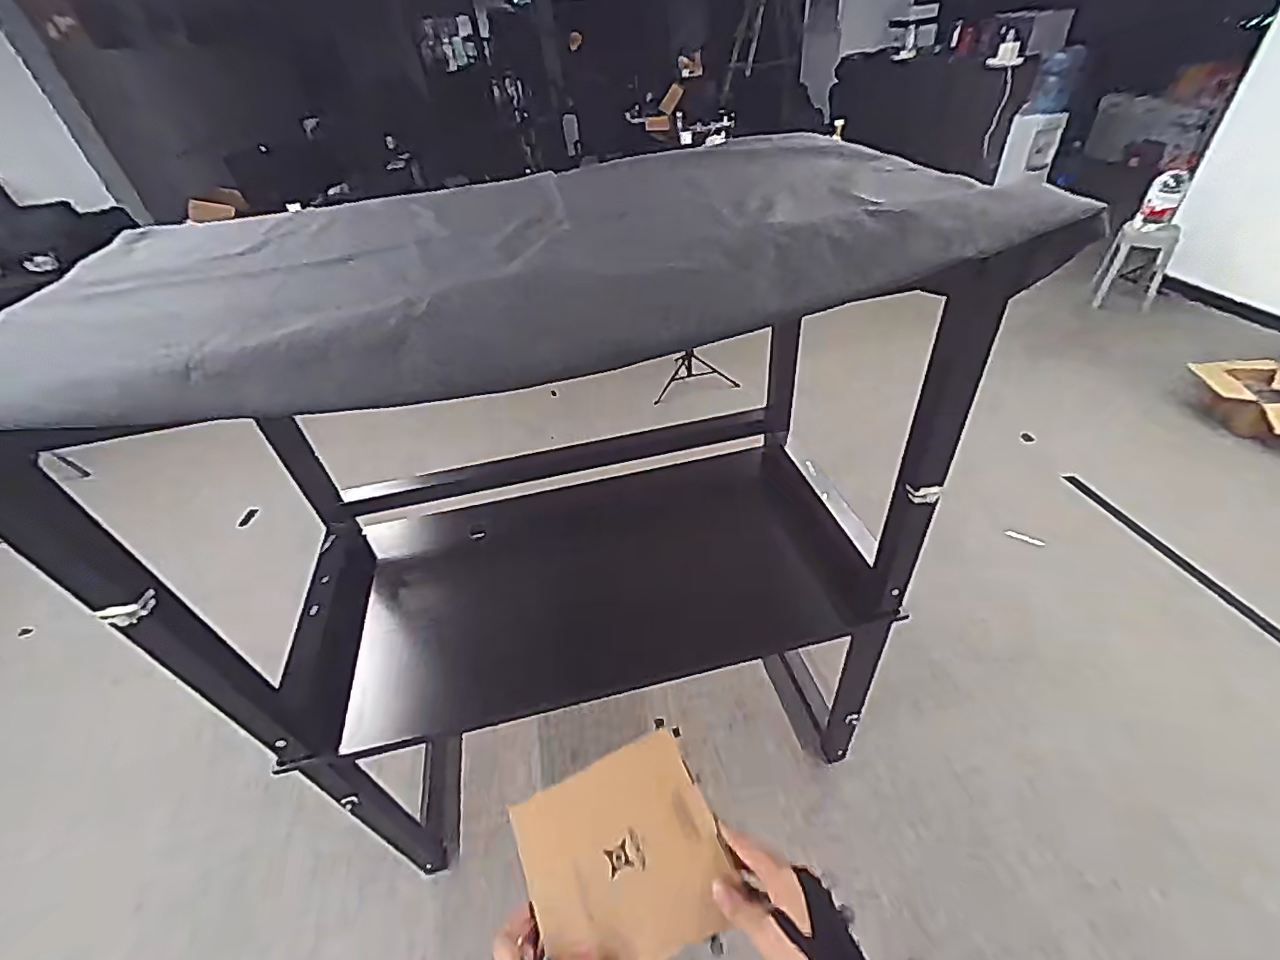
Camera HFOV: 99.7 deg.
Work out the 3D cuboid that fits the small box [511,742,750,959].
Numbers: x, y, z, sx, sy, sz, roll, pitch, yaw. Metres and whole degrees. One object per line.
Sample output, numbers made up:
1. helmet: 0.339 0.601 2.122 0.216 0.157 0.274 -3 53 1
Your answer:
1. small box: -0.007 0.402 0.546 0.179 0.176 0.168 -23 49 -9
